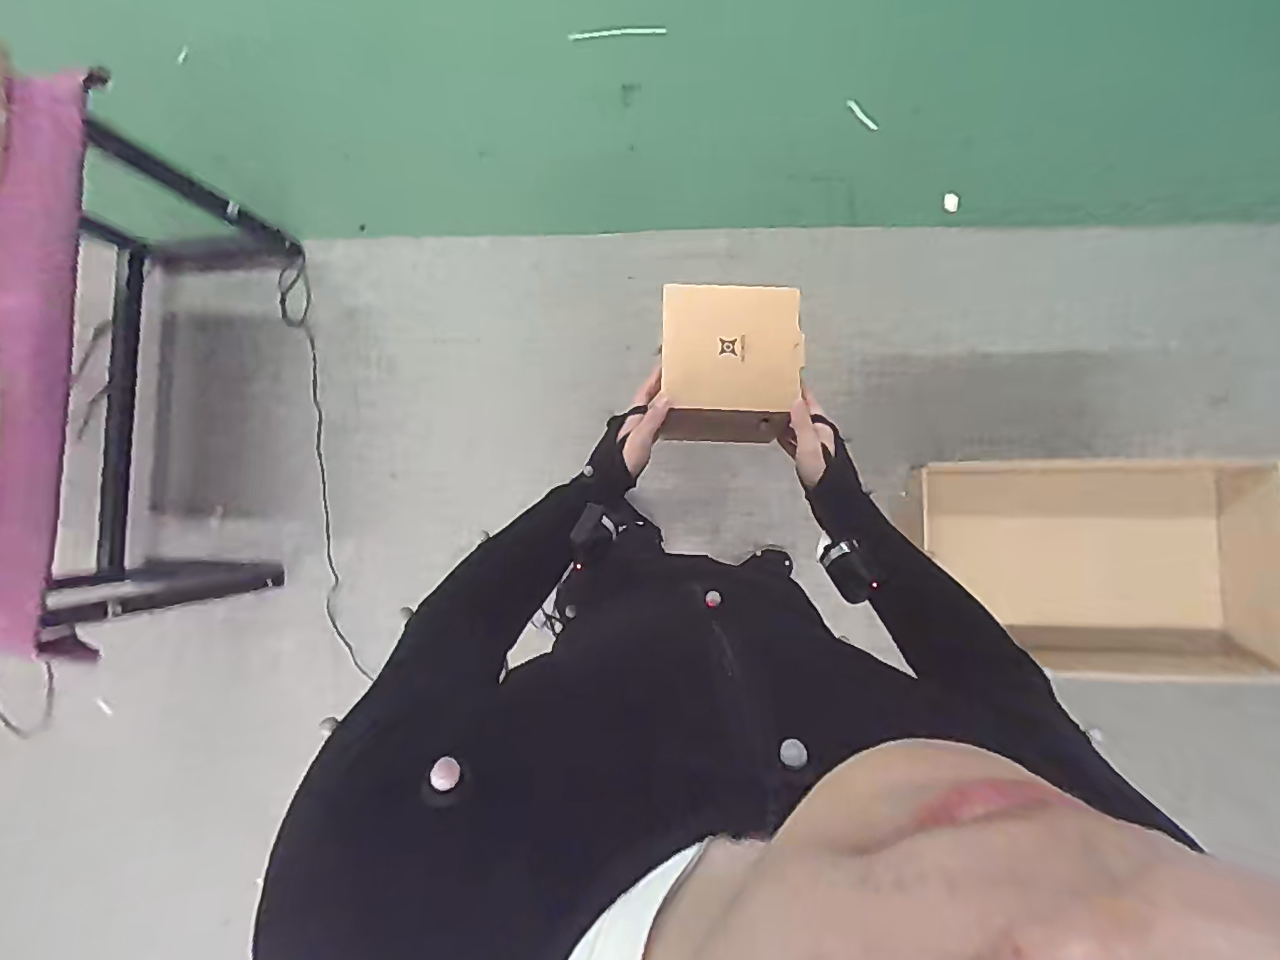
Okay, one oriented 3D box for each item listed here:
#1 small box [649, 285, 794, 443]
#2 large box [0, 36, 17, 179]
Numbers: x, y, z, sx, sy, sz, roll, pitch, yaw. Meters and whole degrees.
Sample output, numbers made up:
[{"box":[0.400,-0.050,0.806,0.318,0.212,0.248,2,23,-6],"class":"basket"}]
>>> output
[{"box":[0.101,-0.149,0.744,0.179,0.176,0.168,1,80,-1],"class":"small box"},{"box":[-1.546,-0.791,1.021,0.408,0.320,0.320,4,89,8],"class":"large box"}]
